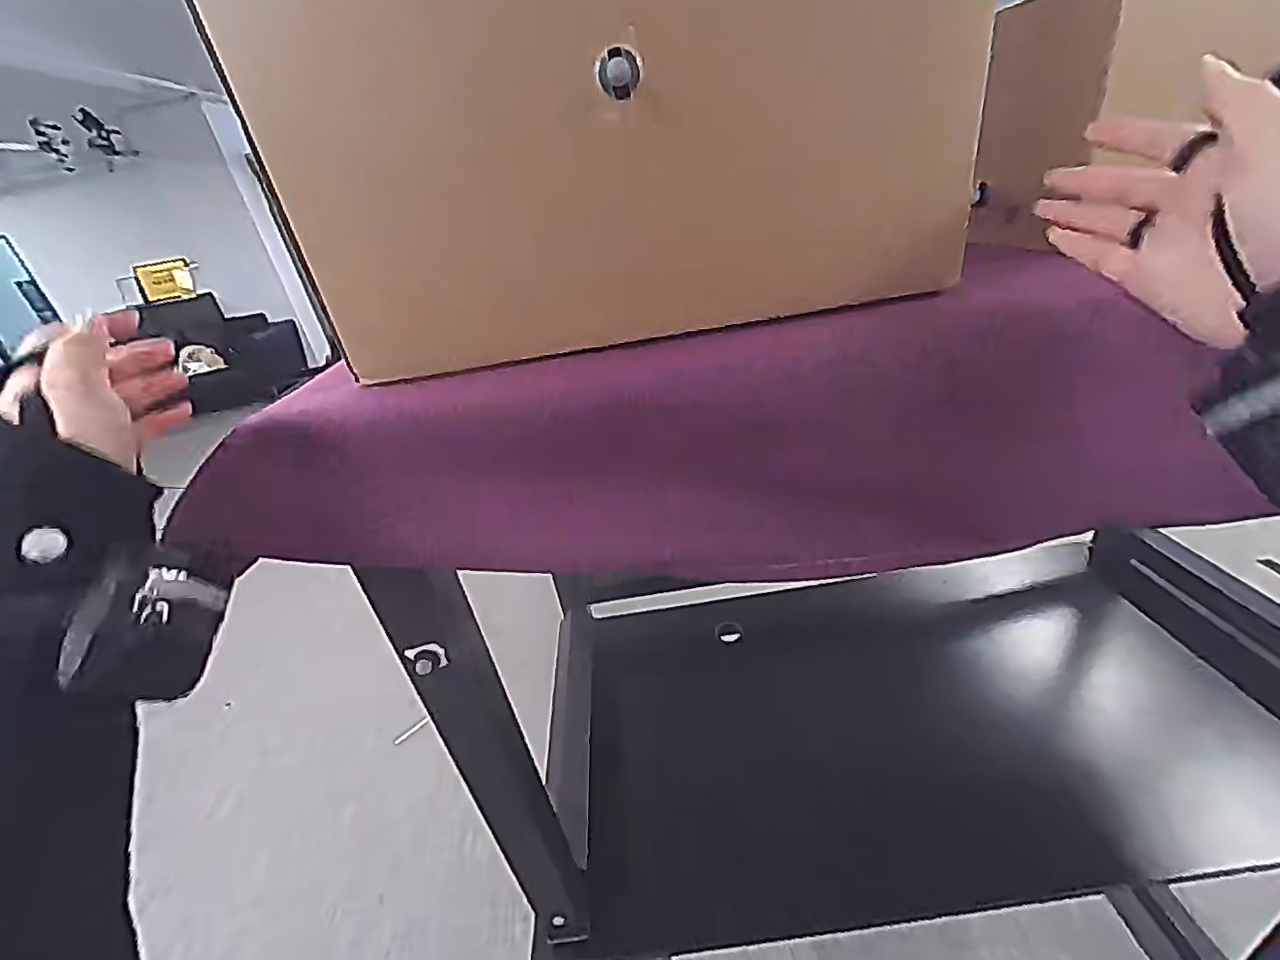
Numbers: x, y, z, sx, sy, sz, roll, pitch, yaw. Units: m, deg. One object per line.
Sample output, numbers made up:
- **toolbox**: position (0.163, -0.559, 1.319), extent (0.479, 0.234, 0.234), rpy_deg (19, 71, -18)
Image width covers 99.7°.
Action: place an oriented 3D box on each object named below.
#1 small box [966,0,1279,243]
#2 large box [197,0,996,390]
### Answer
- **small box**: position (0.371, -0.297, 0.426), extent (0.179, 0.176, 0.168), rpy_deg (-13, 28, -3)
- **large box**: position (-0.019, -0.293, 0.411), extent (0.408, 0.320, 0.320), rpy_deg (-10, 28, 2)
